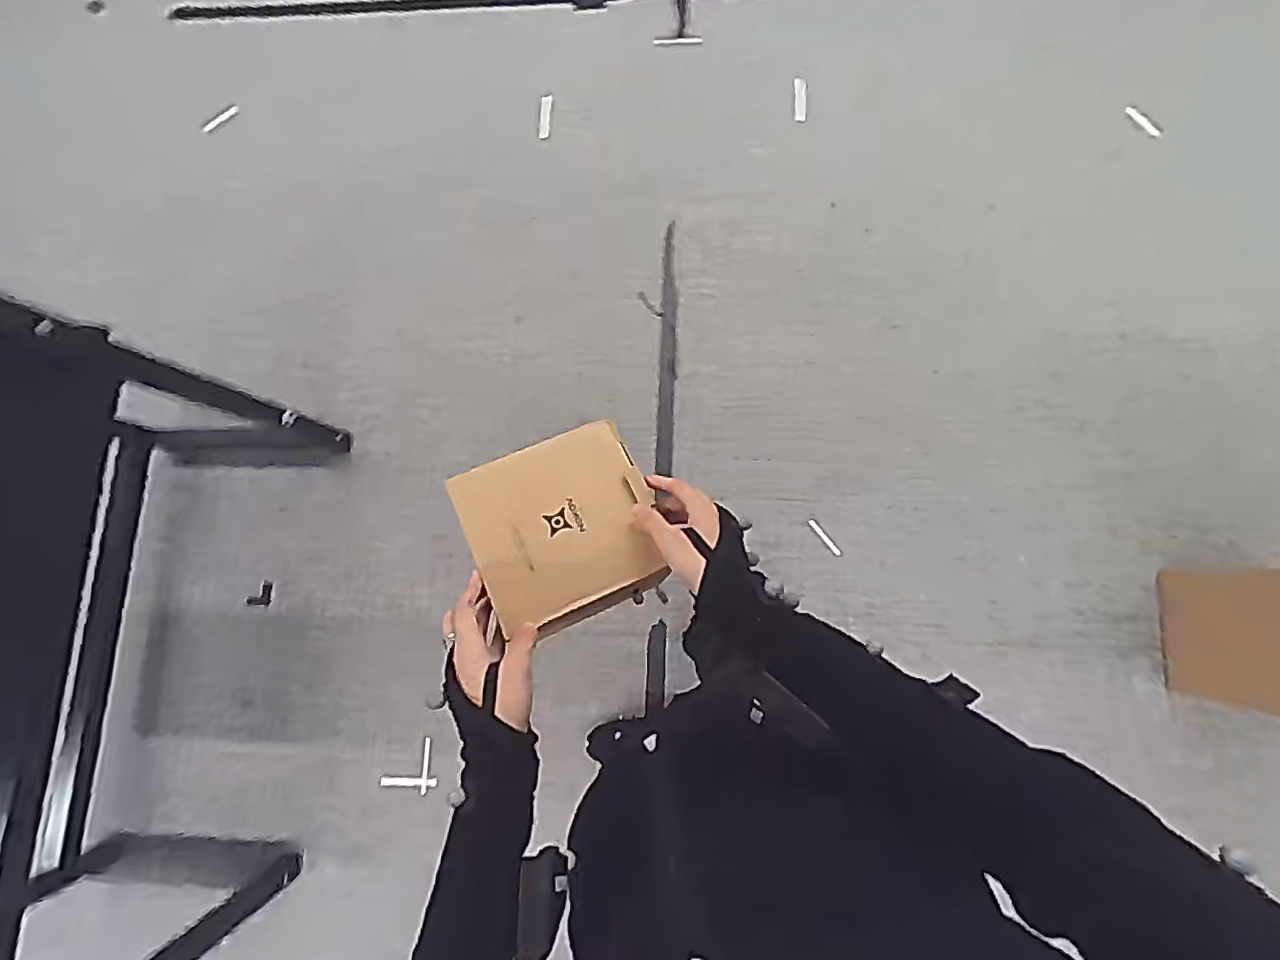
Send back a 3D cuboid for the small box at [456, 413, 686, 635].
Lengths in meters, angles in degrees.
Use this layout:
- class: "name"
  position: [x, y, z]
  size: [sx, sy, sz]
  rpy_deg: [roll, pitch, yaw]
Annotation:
- class: "small box"
  position: [-0.073, 0.056, 0.584]
  size: [0.179, 0.176, 0.168]
  rpy_deg: [-22, 75, -12]
